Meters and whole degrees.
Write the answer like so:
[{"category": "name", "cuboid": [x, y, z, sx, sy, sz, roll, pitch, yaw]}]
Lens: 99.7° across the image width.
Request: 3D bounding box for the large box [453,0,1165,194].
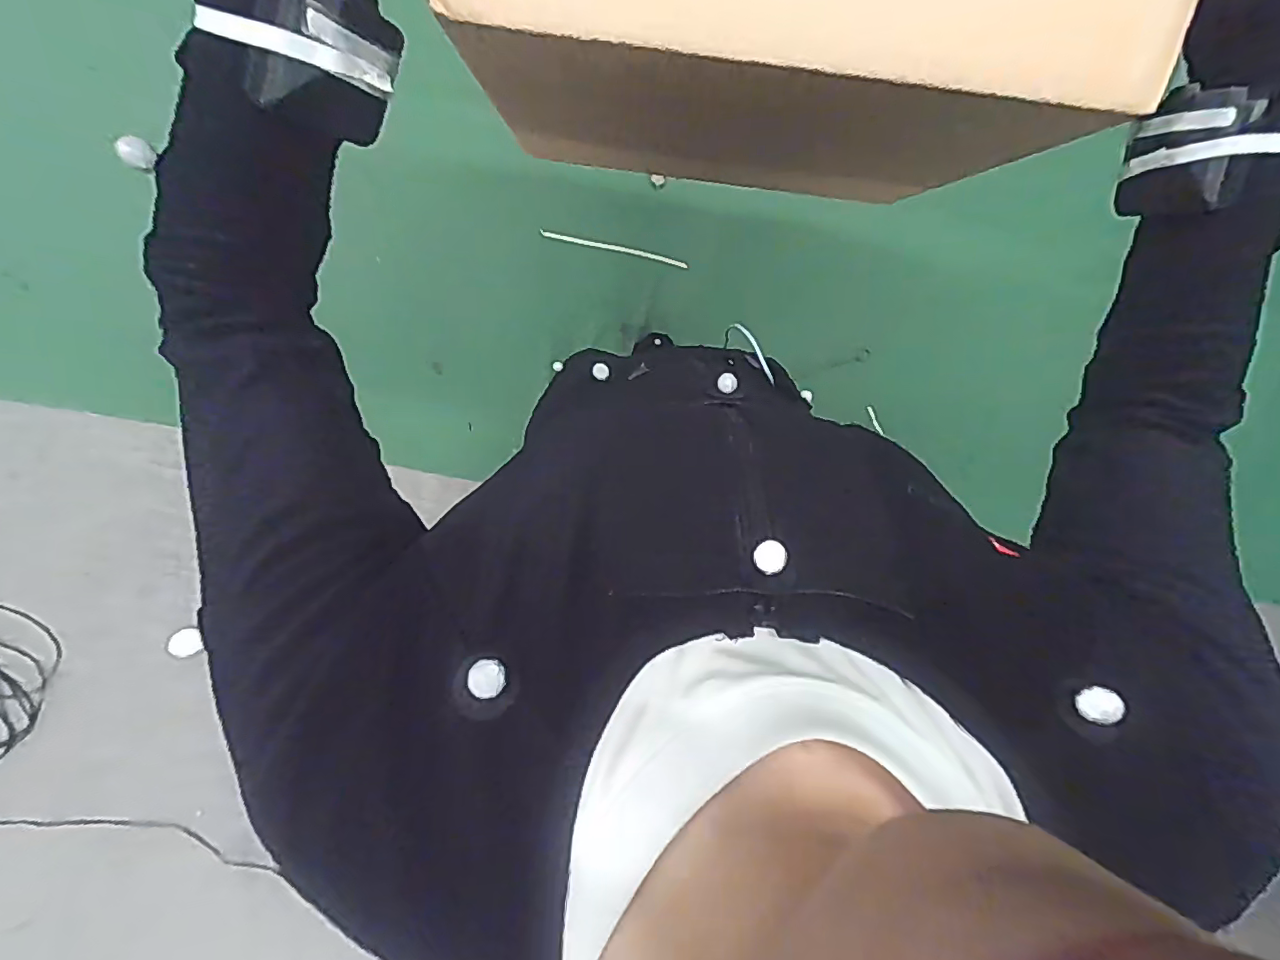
[{"category": "large box", "cuboid": [0.099, -0.426, 0.401, 0.408, 0.320, 0.320, 4, 109, -3]}]
